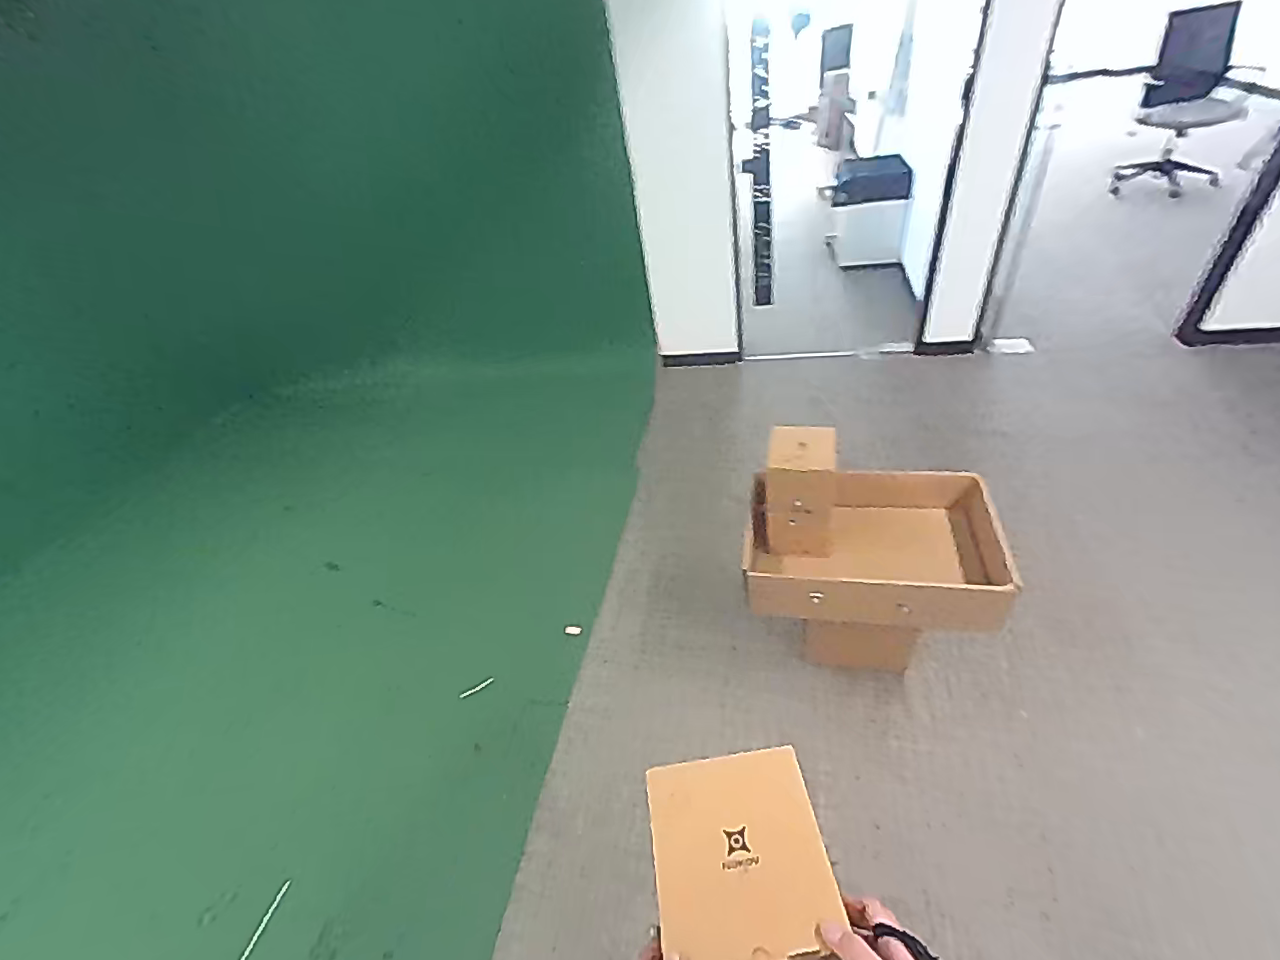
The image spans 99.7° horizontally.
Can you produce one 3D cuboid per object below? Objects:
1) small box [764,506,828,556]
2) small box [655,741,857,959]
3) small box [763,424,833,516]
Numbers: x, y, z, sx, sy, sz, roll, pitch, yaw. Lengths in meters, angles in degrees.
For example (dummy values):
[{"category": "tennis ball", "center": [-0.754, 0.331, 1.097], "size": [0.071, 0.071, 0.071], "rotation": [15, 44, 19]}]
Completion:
[{"category": "small box", "center": [0.446, 0.094, 1.548], "size": [0.168, 0.176, 0.179], "rotation": [2, 42, 16]}, {"category": "small box", "center": [0.107, 0.409, 0.575], "size": [0.168, 0.176, 0.179], "rotation": [-7, 38, 1]}, {"category": "small box", "center": [0.421, -0.028, 1.441], "size": [0.168, 0.176, 0.179], "rotation": [4, 43, 18]}]
